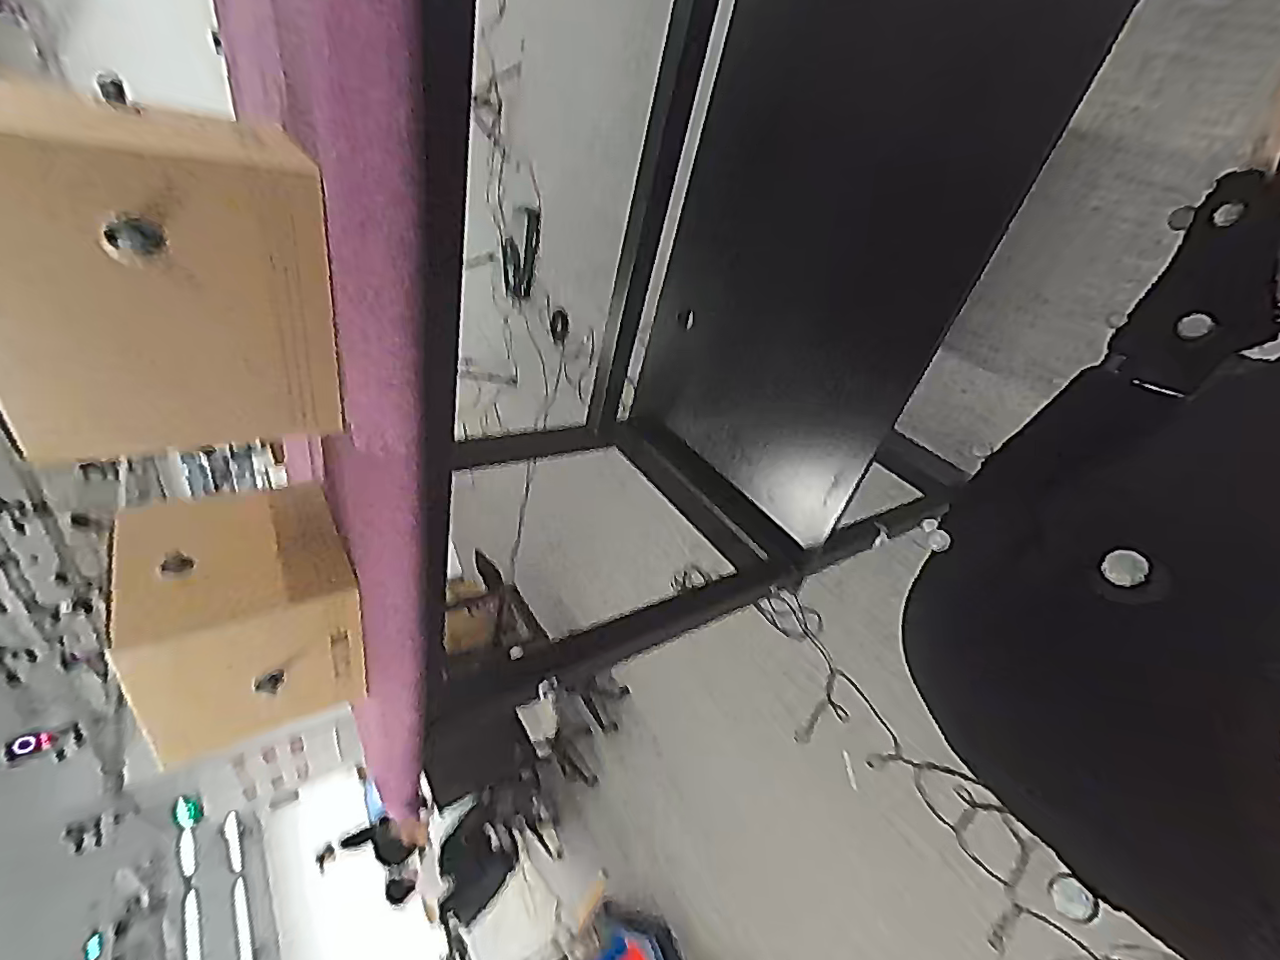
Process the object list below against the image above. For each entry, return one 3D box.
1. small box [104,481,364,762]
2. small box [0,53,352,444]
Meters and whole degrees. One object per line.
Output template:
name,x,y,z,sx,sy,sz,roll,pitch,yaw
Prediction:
small box,-0.374,0.117,0.518,0.179,0.176,0.168,44,131,38
small box,-0.300,-0.148,0.351,0.168,0.176,0.179,45,134,38
